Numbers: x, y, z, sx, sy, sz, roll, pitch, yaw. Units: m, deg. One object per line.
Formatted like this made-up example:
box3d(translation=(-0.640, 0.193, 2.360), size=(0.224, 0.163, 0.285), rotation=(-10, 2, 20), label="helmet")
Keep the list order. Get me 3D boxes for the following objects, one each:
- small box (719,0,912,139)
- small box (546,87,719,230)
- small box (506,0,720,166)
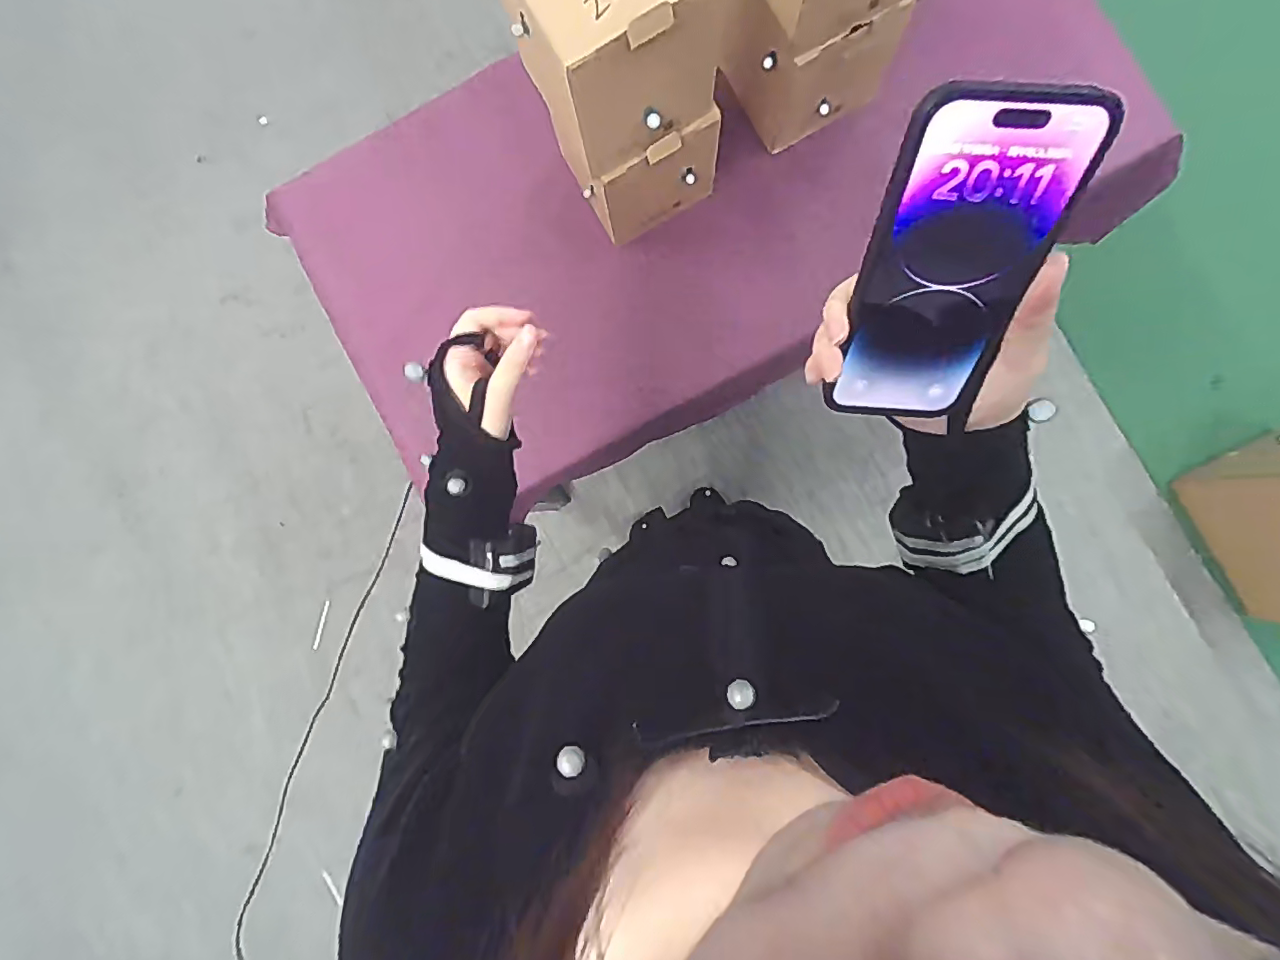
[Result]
box3d(translation=(0.218, -0.606, 0.713), size=(0.168, 0.176, 0.179), rotation=(-29, 87, 2), label="small box")
box3d(translation=(-0.009, -0.469, 0.725), size=(0.168, 0.176, 0.179), rotation=(-29, 86, 2), label="small box")
box3d(translation=(-0.034, -0.480, 0.561), size=(0.168, 0.176, 0.179), rotation=(-30, 86, 2), label="small box")
